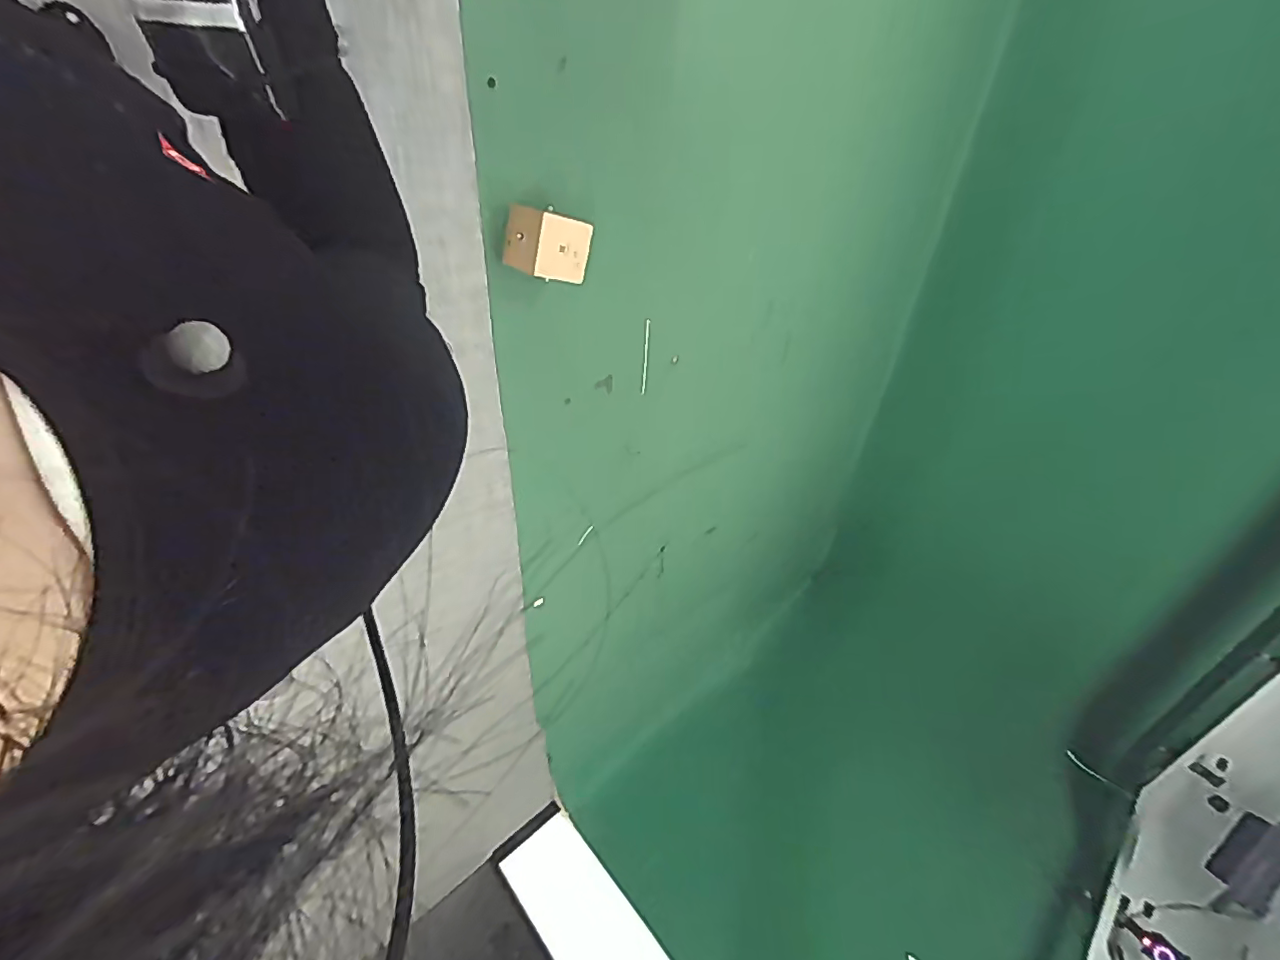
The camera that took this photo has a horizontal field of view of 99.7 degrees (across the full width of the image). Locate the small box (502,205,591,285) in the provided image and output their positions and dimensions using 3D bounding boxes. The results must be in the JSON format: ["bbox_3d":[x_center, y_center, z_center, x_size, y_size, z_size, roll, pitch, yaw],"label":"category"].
[{"bbox_3d":[-0.275,-0.678,1.555,0.179,0.176,0.168,-9,125,-45],"label":"small box"}]
